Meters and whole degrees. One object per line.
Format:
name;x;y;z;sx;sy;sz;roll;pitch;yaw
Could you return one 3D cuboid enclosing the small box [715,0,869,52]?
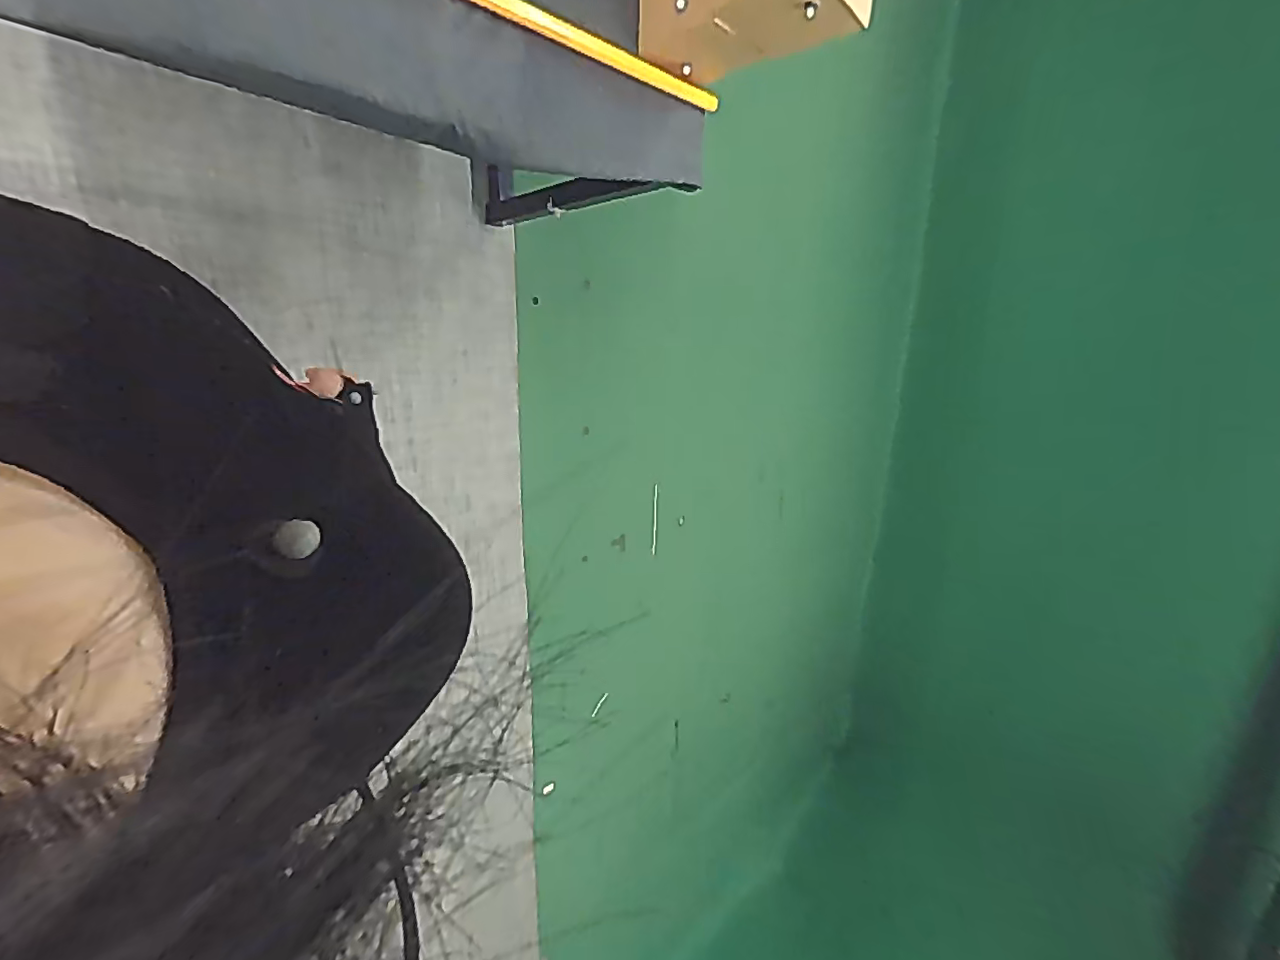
small box;0.227;-0.773;0.790;0.179;0.176;0.168;-8;108;-45
